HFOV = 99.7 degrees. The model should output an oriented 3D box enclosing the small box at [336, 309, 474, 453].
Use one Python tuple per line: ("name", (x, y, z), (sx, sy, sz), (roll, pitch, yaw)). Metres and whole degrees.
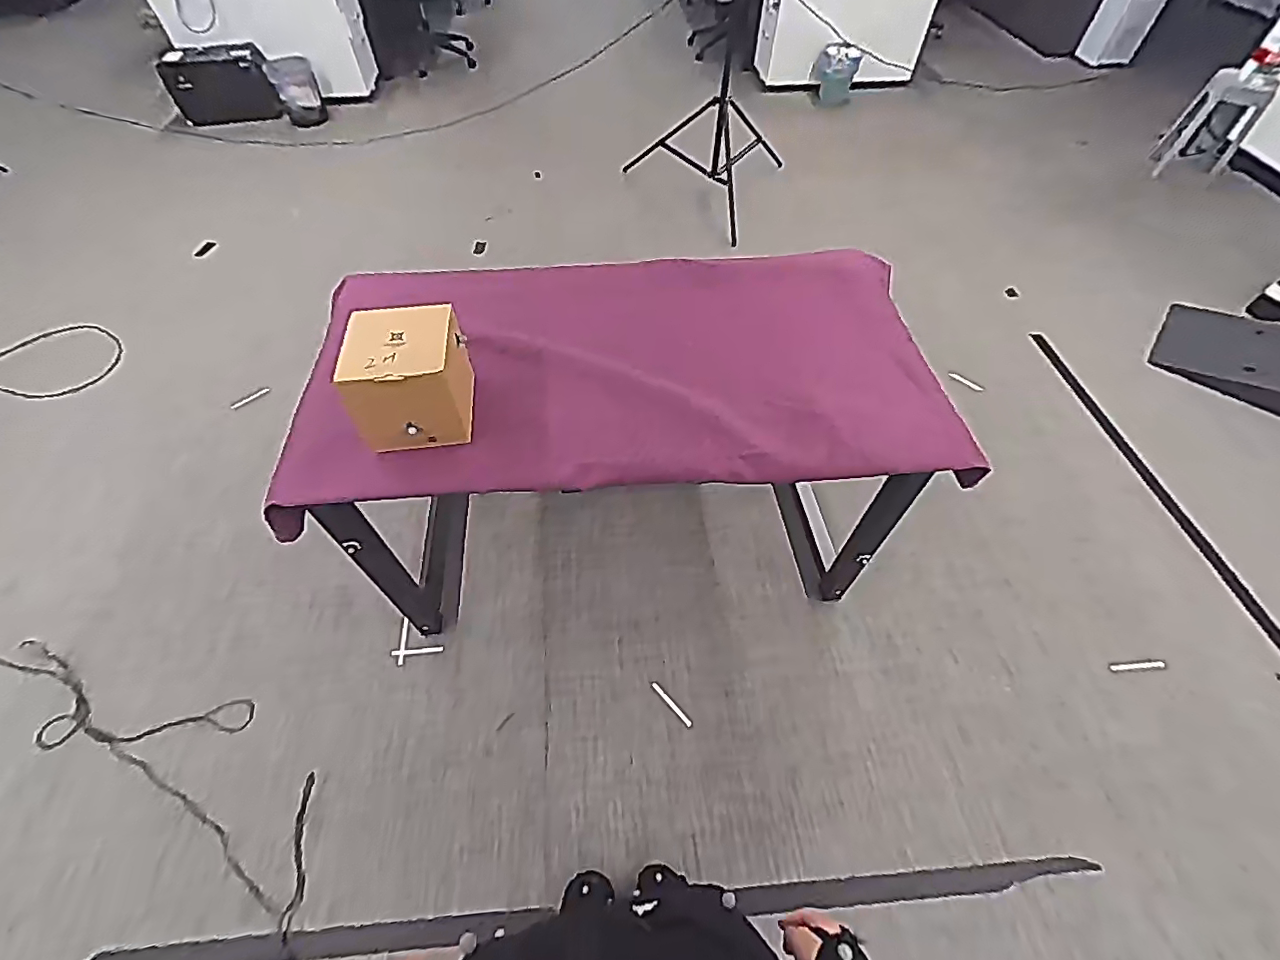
("small box", (-0.392, -0.170, 0.936), (0.168, 0.176, 0.179), (-6, 54, -5))
